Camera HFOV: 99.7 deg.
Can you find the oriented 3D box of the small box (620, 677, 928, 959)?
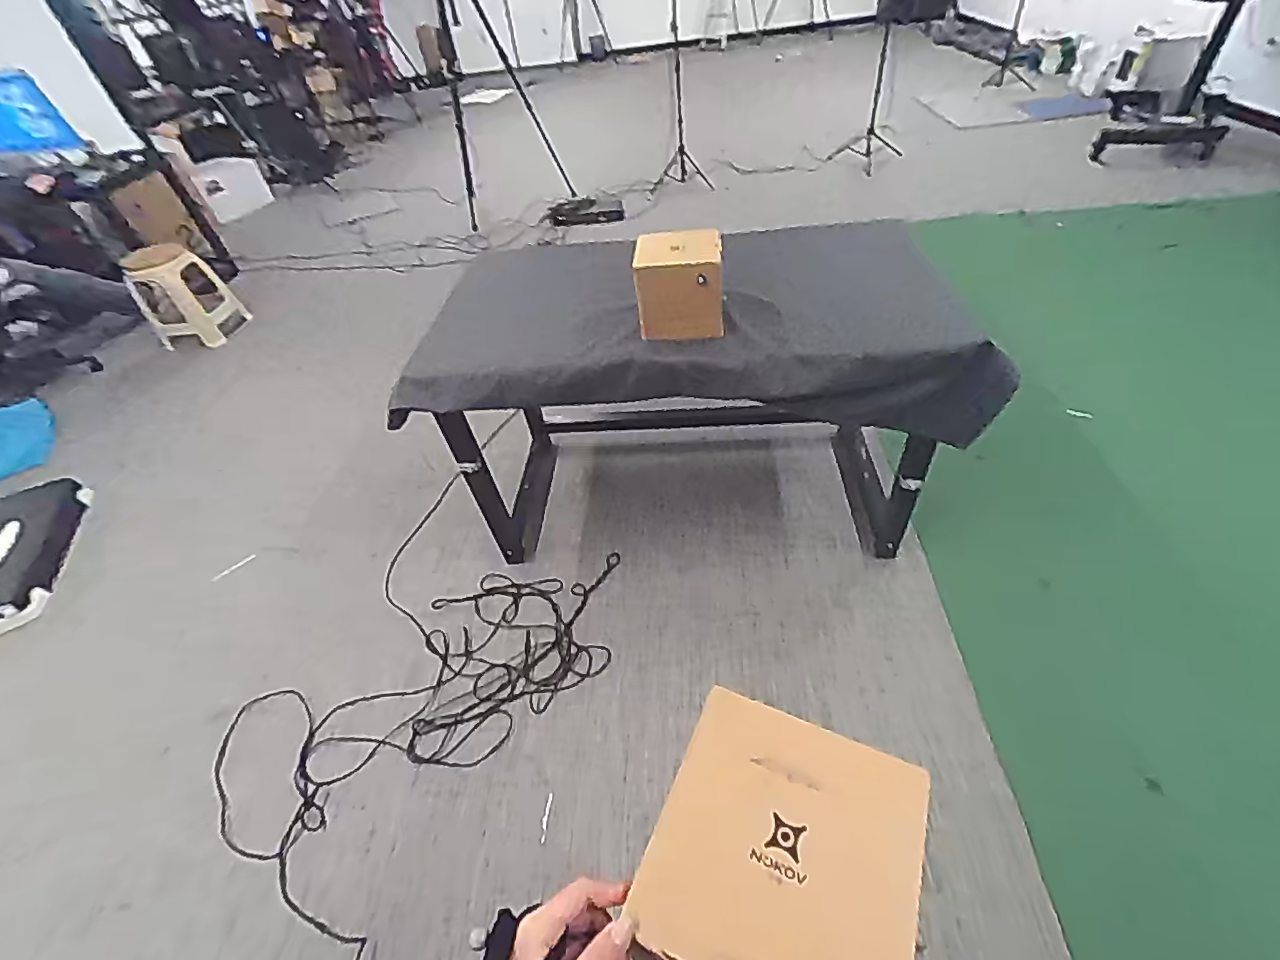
[{"bbox_3d":[0.101,0.294,0.413,0.168,0.176,0.179,16,45,20],"label":"small box"}]

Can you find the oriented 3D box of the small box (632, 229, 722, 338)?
[{"bbox_3d":[0.085,-0.418,1.160,0.179,0.176,0.168,-1,45,7],"label":"small box"}]
